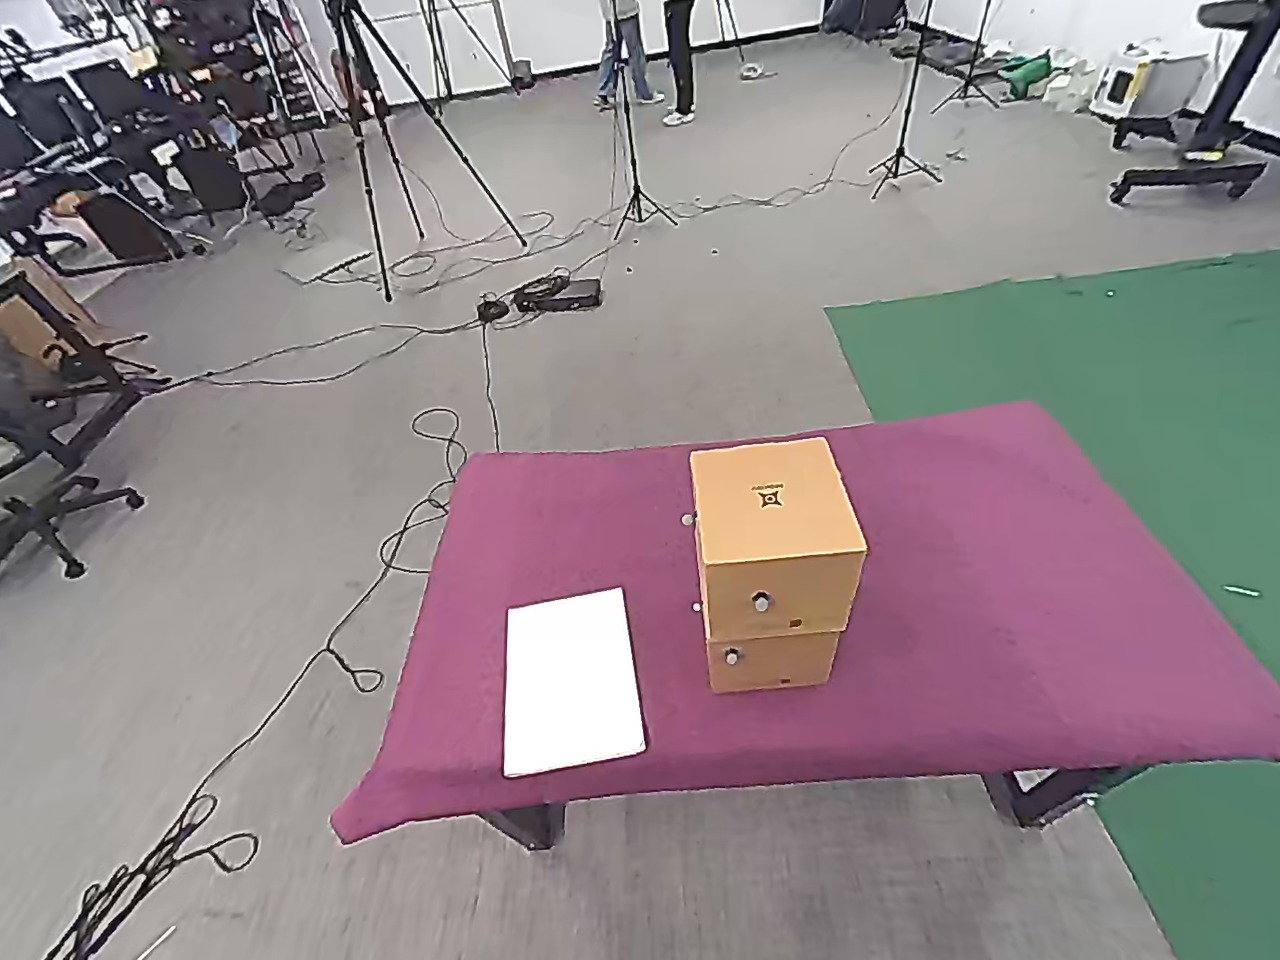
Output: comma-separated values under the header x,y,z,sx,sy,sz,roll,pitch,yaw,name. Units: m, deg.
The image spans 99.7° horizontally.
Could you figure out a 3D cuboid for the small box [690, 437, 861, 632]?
x,y,z,sx,sy,sz,roll,pitch,yaw,name
0.154,0.073,0.662,0.168,0.176,0.179,-6,45,5,small box
